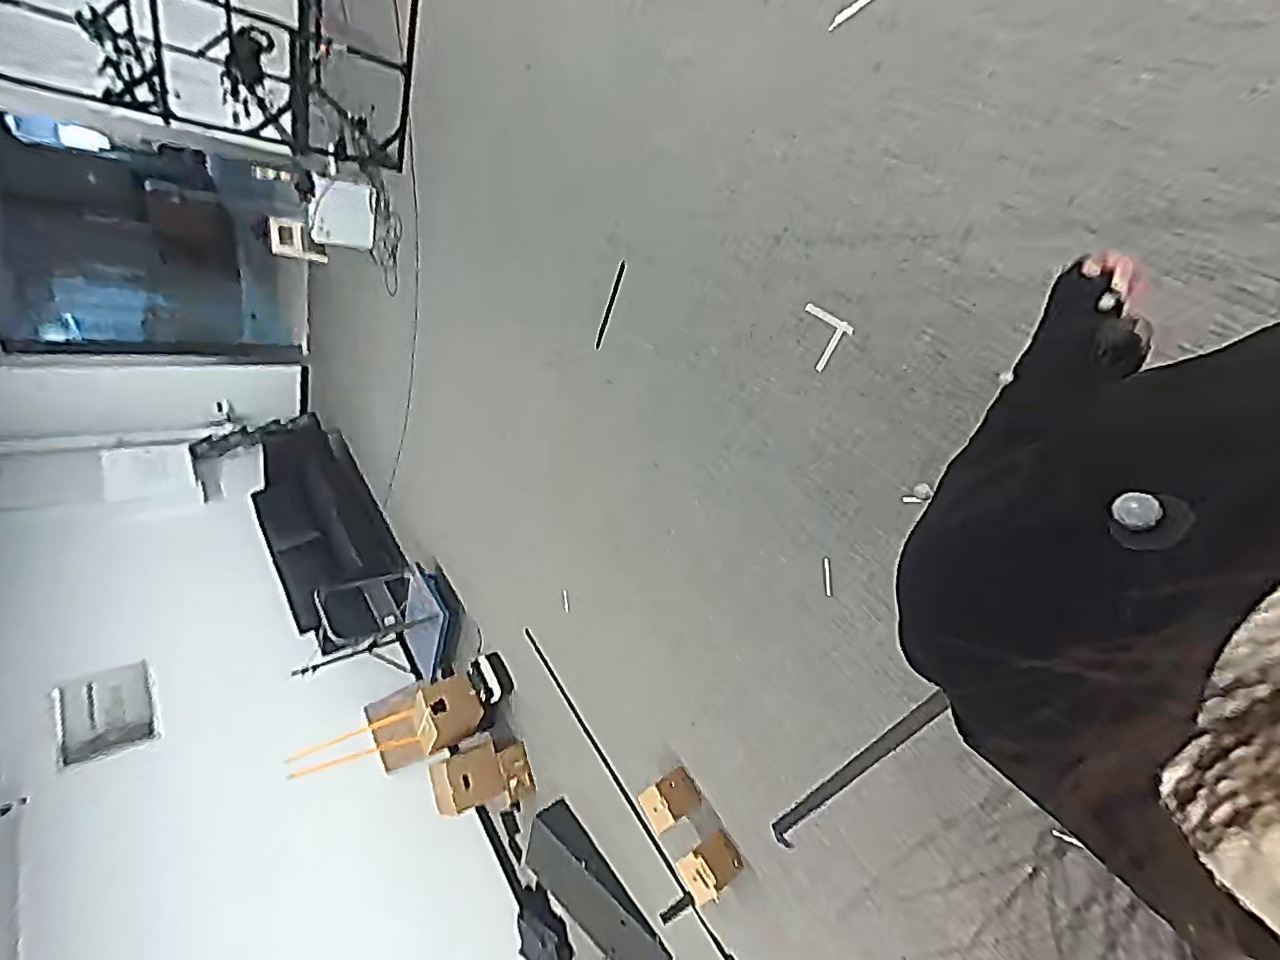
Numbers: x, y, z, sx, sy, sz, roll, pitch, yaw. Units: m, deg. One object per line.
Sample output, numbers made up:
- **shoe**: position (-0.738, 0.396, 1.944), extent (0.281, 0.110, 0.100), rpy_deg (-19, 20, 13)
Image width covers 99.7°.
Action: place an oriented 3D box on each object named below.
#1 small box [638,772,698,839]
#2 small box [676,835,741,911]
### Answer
- **small box**: position (0.127, 1.399, 2.333), extent (0.168, 0.176, 0.179), rpy_deg (53, 133, 28)
- **small box**: position (0.282, 1.589, 2.192), extent (0.168, 0.176, 0.179), rpy_deg (50, 132, 30)
